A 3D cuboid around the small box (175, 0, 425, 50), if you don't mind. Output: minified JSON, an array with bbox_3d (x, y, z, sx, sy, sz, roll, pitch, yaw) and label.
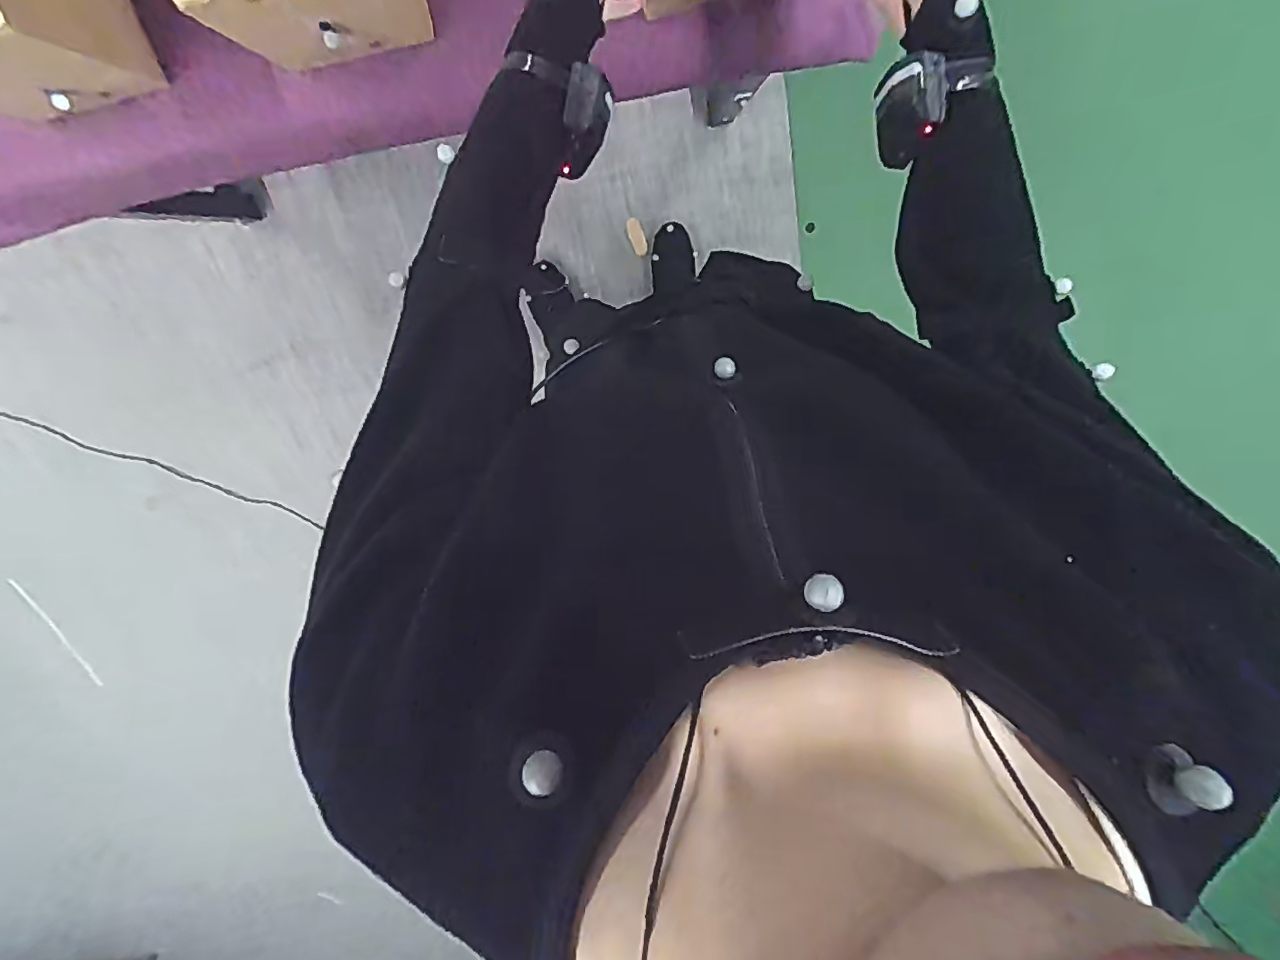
[{"bbox_3d":[-0.312,-0.507,0.466,0.168,0.176,0.179,-10,113,3],"label":"small box"}]

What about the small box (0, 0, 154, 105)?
[{"bbox_3d":[-0.608,-0.468,0.478,0.168,0.176,0.179,-10,113,4],"label":"small box"}]
